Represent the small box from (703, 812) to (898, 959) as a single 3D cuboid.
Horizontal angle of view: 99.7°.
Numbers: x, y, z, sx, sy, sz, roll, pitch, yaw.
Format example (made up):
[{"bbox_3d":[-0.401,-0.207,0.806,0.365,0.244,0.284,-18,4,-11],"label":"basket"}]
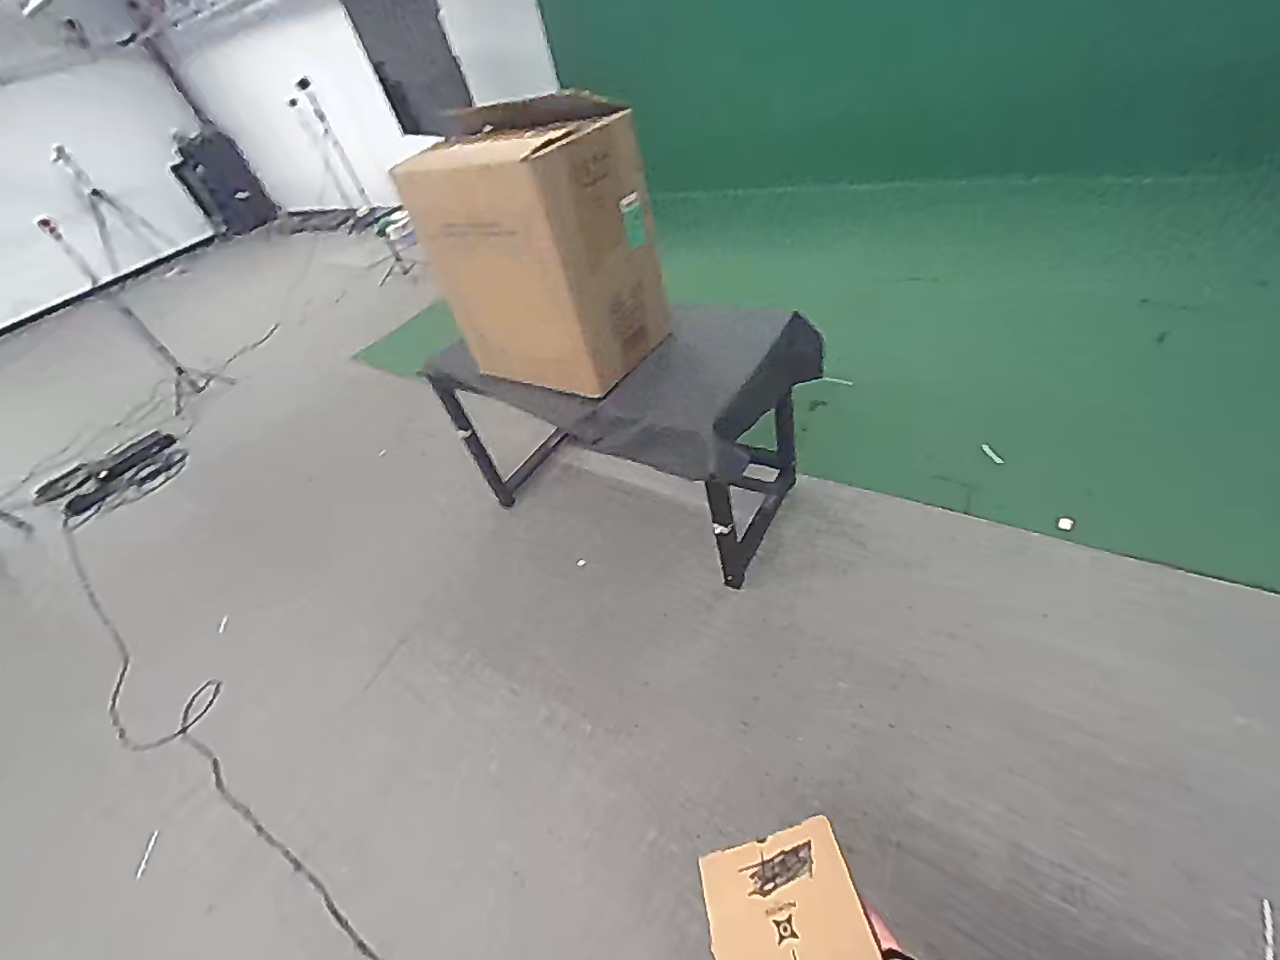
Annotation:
[{"bbox_3d":[0.190,0.525,0.602,0.168,0.176,0.179,-26,25,5],"label":"small box"}]
